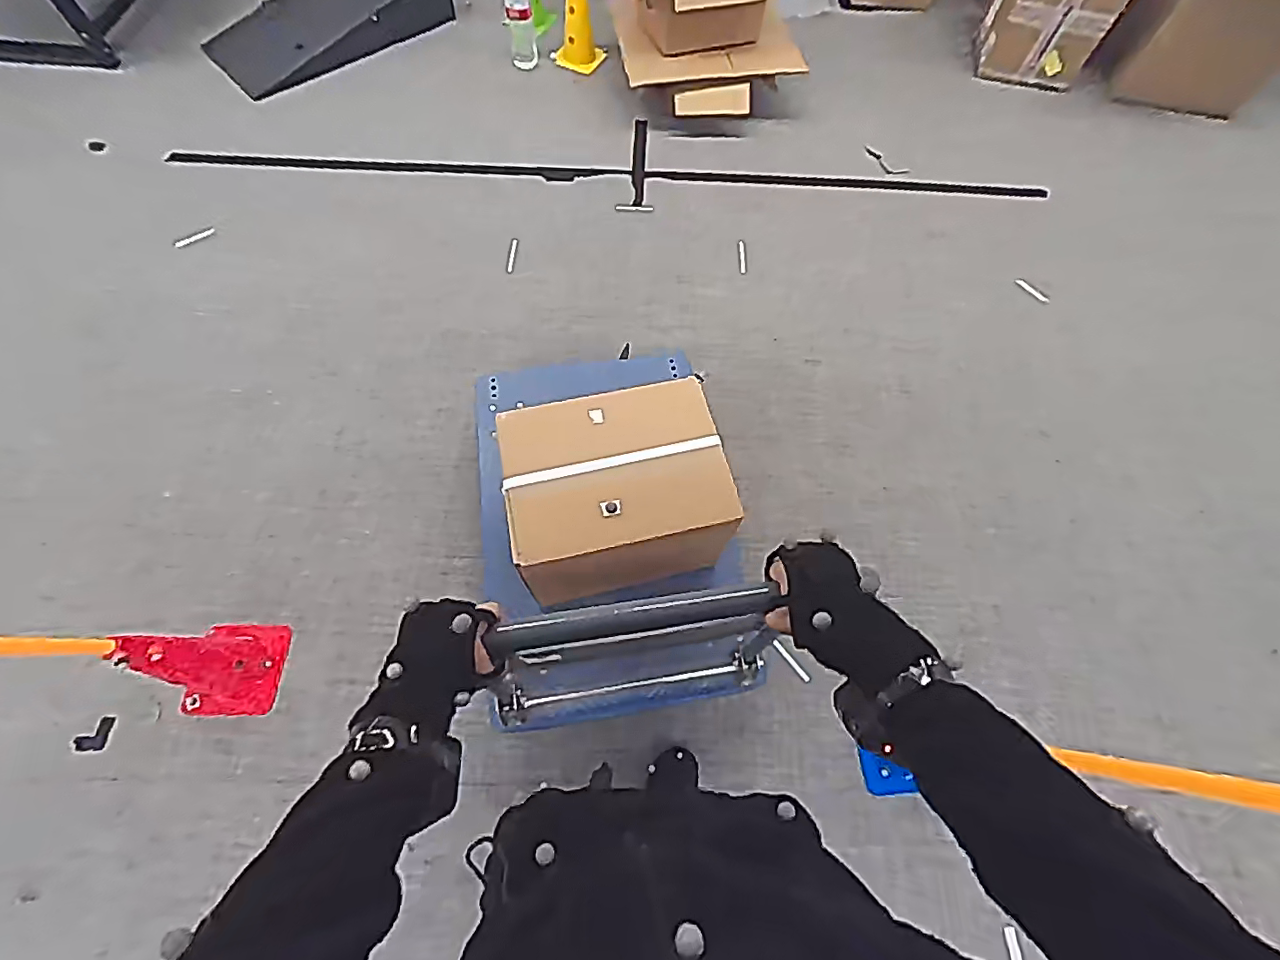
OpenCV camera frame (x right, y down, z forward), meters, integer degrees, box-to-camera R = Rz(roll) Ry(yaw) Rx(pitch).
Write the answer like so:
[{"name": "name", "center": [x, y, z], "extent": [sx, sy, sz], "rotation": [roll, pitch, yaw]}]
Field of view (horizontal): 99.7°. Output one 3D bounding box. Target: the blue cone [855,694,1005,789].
[{"name": "blue cone", "center": [0.610, 0.526, 1.097], "extent": [0.193, 0.380, 0.192], "rotation": [-1, 64, -3]}]
